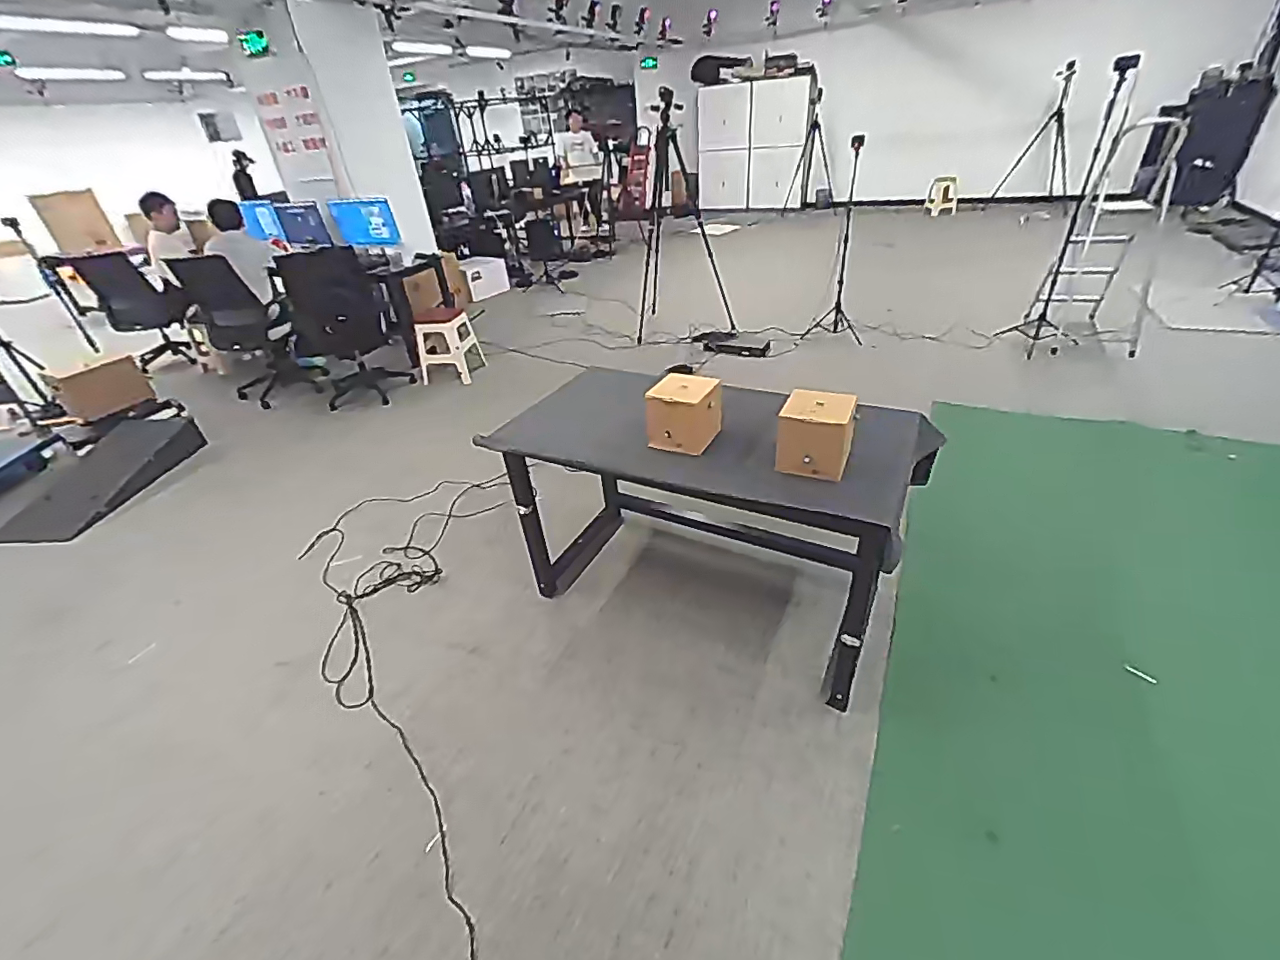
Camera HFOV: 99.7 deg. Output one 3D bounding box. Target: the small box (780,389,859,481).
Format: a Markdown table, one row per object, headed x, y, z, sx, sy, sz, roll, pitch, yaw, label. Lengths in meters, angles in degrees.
| x | y | z | sx | sy | sz | roll | pitch | yaw | label |
| --- | --- | --- | --- | --- | --- | --- | --- | --- | --- |
| 0.469 | -0.121 | 1.421 | 0.168 | 0.176 | 0.179 | 10 | 37 | 26 | small box |

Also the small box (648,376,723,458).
| x | y | z | sx | sy | sz | roll | pitch | yaw | label |
| --- | --- | --- | --- | --- | --- | --- | --- | --- | --- |
| 0.137 | -0.188 | 1.589 | 0.168 | 0.176 | 0.179 | 13 | 38 | 26 | small box |
